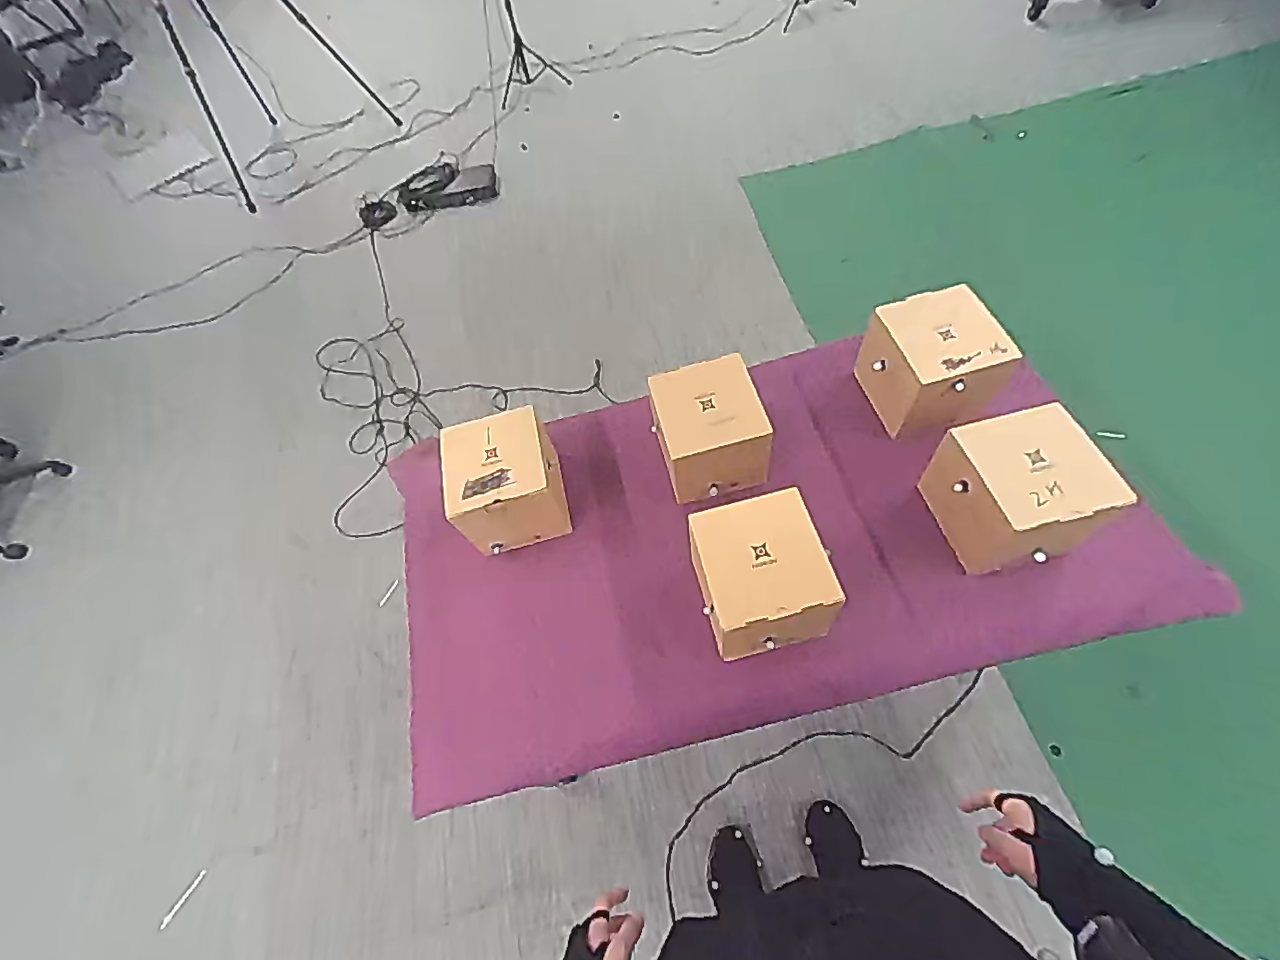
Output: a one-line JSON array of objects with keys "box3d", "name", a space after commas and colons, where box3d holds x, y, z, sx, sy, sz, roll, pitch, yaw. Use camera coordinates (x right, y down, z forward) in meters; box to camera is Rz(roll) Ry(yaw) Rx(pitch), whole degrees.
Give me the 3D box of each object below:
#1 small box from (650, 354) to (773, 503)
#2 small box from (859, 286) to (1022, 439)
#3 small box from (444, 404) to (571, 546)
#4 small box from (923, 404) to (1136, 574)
[{"box3d": [0.121, -0.086, 0.946, 0.168, 0.176, 0.179, -15, 60, 1], "name": "small box"}, {"box3d": [0.507, -0.200, 0.947, 0.168, 0.176, 0.179, -15, 60, 1], "name": "small box"}, {"box3d": [-0.227, 0.002, 0.947, 0.168, 0.176, 0.179, -15, 59, -1], "name": "small box"}, {"box3d": [0.559, 0.018, 0.811, 0.168, 0.176, 0.179, -14, 58, 2], "name": "small box"}]
